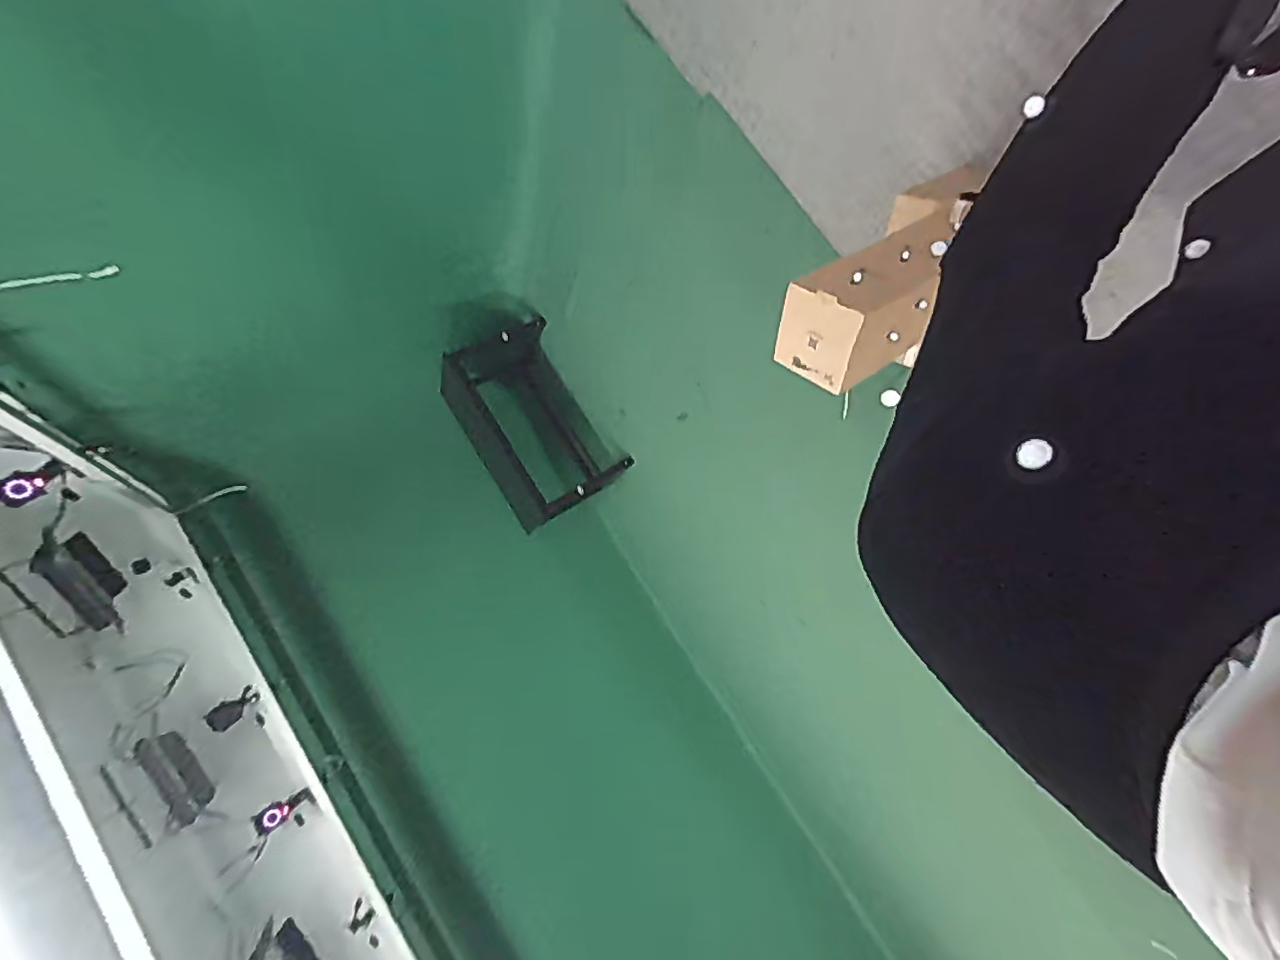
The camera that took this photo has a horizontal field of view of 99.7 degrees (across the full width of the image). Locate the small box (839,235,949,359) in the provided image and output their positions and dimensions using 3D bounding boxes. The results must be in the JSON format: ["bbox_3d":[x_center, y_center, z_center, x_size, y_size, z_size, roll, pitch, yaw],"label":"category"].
[{"bbox_3d":[0.516,-0.393,1.143,0.168,0.176,0.179,41,149,32],"label":"small box"}]

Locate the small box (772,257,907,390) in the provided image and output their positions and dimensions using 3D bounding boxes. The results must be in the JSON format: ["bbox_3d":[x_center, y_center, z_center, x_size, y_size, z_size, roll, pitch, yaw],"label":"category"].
[{"bbox_3d":[0.393,-0.315,1.066,0.168,0.176,0.179,41,148,32],"label":"small box"}]
